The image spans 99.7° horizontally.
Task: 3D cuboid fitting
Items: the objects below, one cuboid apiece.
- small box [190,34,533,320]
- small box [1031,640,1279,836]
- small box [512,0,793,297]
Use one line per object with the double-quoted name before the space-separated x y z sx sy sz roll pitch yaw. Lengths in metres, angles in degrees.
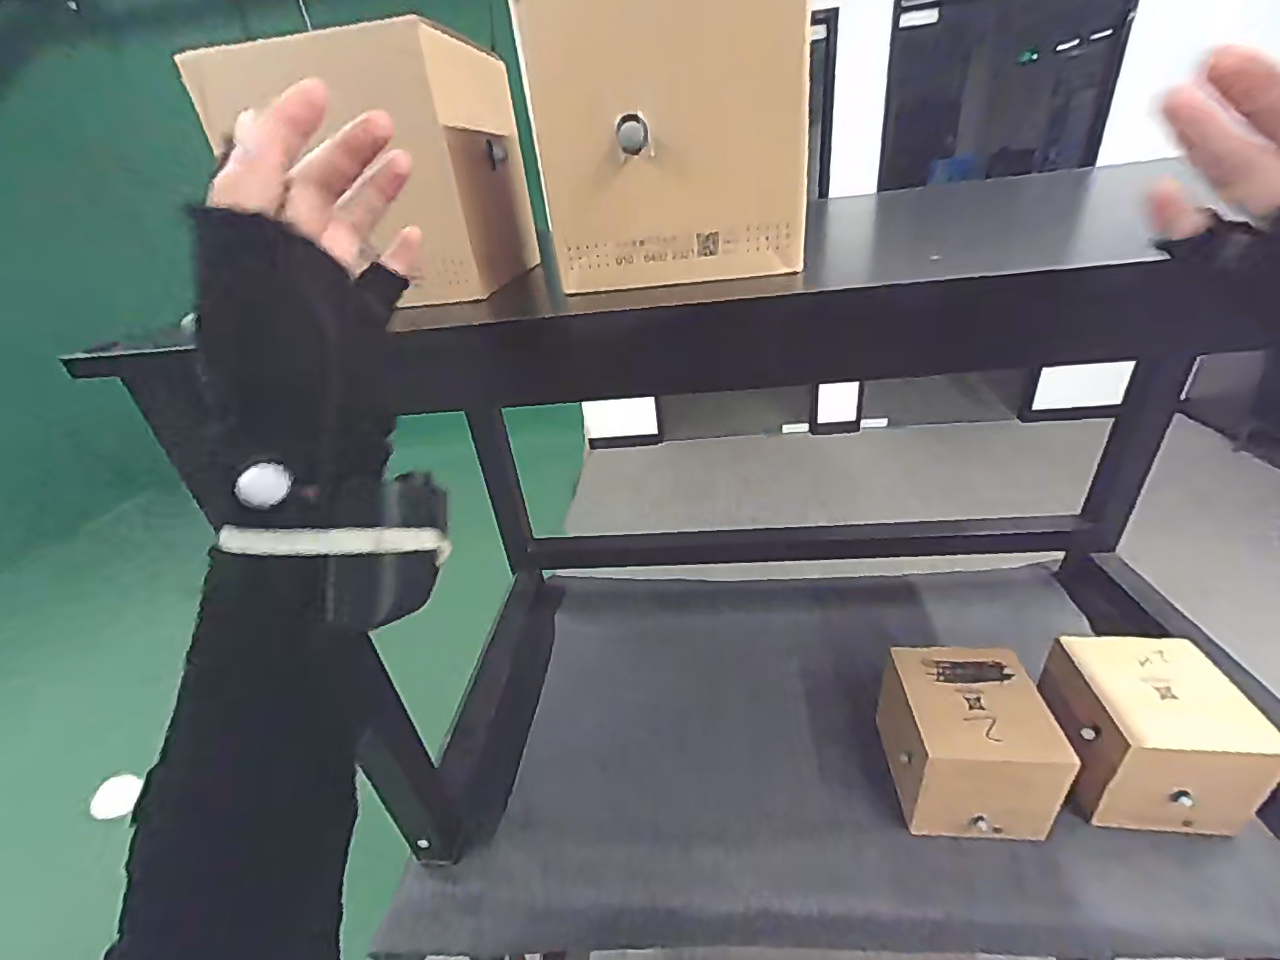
"small box" -0.198 -0.239 0.451 0.168 0.176 0.179 -3 31 8
"small box" 0.664 0.339 0.721 0.168 0.176 0.179 -1 29 11
"small box" 0.024 -0.241 0.410 0.168 0.176 0.179 -3 29 8
